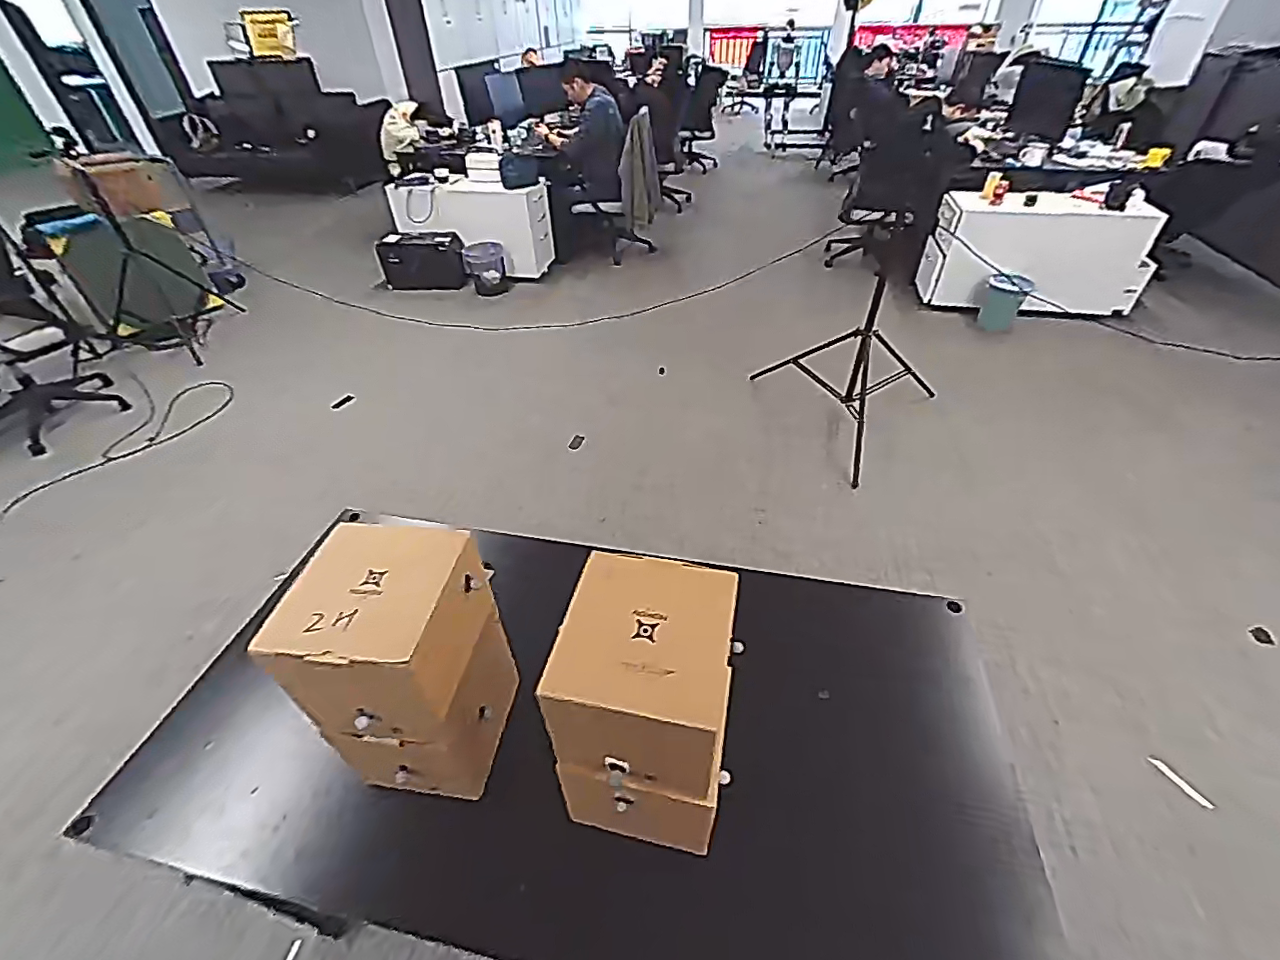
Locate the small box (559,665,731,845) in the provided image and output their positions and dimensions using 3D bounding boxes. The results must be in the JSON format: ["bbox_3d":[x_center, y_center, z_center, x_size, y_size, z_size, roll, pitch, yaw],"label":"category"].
[{"bbox_3d":[0.014,0.335,0.690,0.179,0.176,0.168,8,42,11],"label":"small box"}]

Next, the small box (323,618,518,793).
[{"bbox_3d":[-0.279,0.302,0.740,0.168,0.176,0.179,4,42,7],"label":"small box"}]

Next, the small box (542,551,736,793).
[{"bbox_3d":[0.009,0.206,0.590,0.168,0.176,0.179,6,42,11],"label":"small box"}]

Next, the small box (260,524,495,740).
[{"bbox_3d":[-0.282,0.174,0.634,0.168,0.176,0.179,3,41,6],"label":"small box"}]
